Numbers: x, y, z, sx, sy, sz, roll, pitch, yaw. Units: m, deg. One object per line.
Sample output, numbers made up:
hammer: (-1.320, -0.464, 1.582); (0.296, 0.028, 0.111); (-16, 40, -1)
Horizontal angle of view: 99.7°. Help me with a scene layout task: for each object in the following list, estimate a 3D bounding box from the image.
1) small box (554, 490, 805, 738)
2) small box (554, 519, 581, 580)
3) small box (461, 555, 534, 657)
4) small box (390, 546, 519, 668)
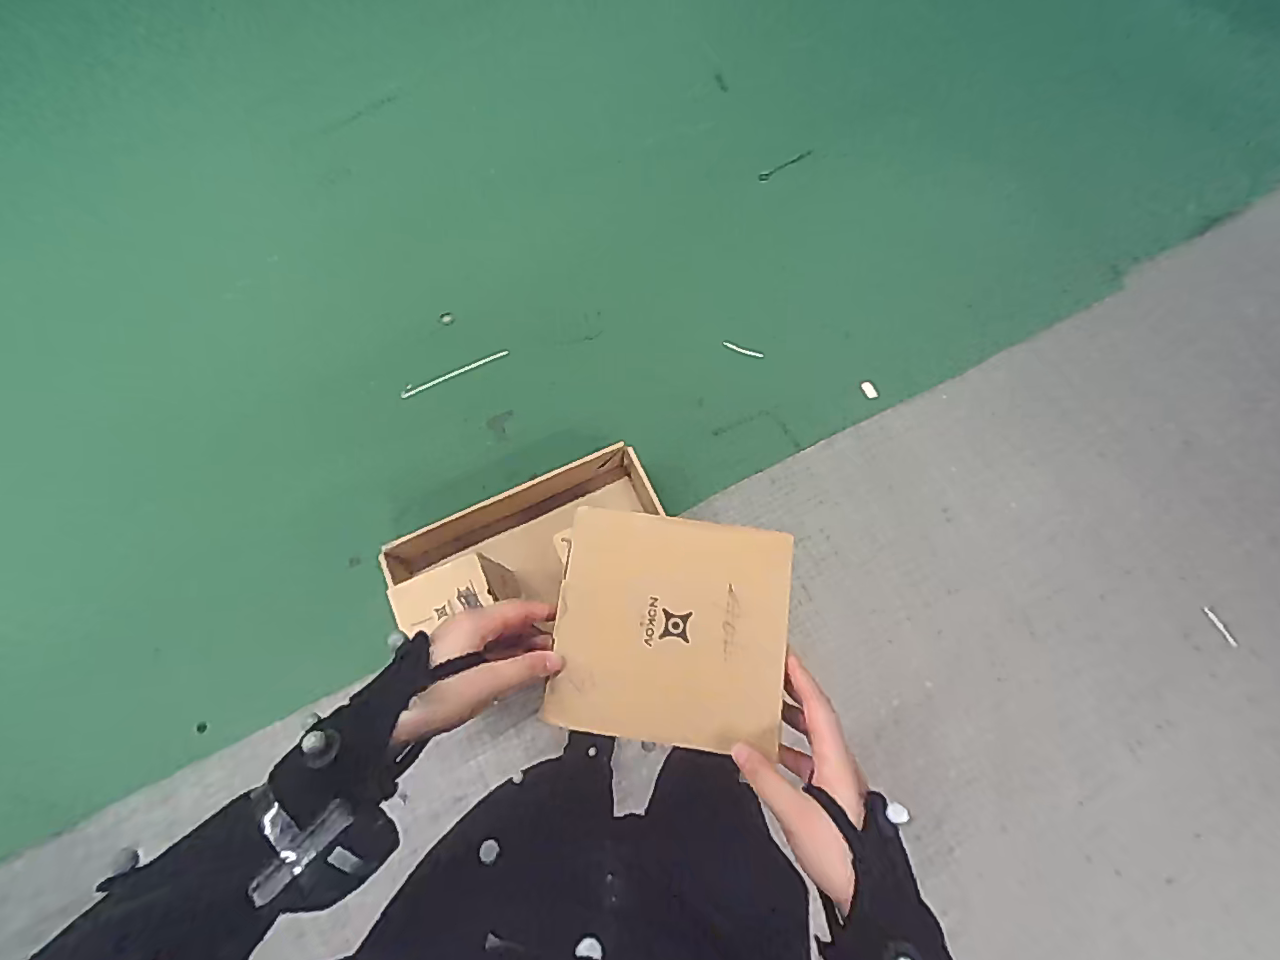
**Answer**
small box: (0.034, 0.115, 0.482); (0.179, 0.176, 0.168); (7, 76, 1)
small box: (-0.083, 0.175, 1.247); (0.168, 0.176, 0.179); (-22, 77, -7)
small box: (-0.353, 0.287, 1.204); (0.179, 0.176, 0.168); (-24, 77, -9)
small box: (-0.346, 0.245, 1.046); (0.179, 0.176, 0.168); (-23, 76, -8)
